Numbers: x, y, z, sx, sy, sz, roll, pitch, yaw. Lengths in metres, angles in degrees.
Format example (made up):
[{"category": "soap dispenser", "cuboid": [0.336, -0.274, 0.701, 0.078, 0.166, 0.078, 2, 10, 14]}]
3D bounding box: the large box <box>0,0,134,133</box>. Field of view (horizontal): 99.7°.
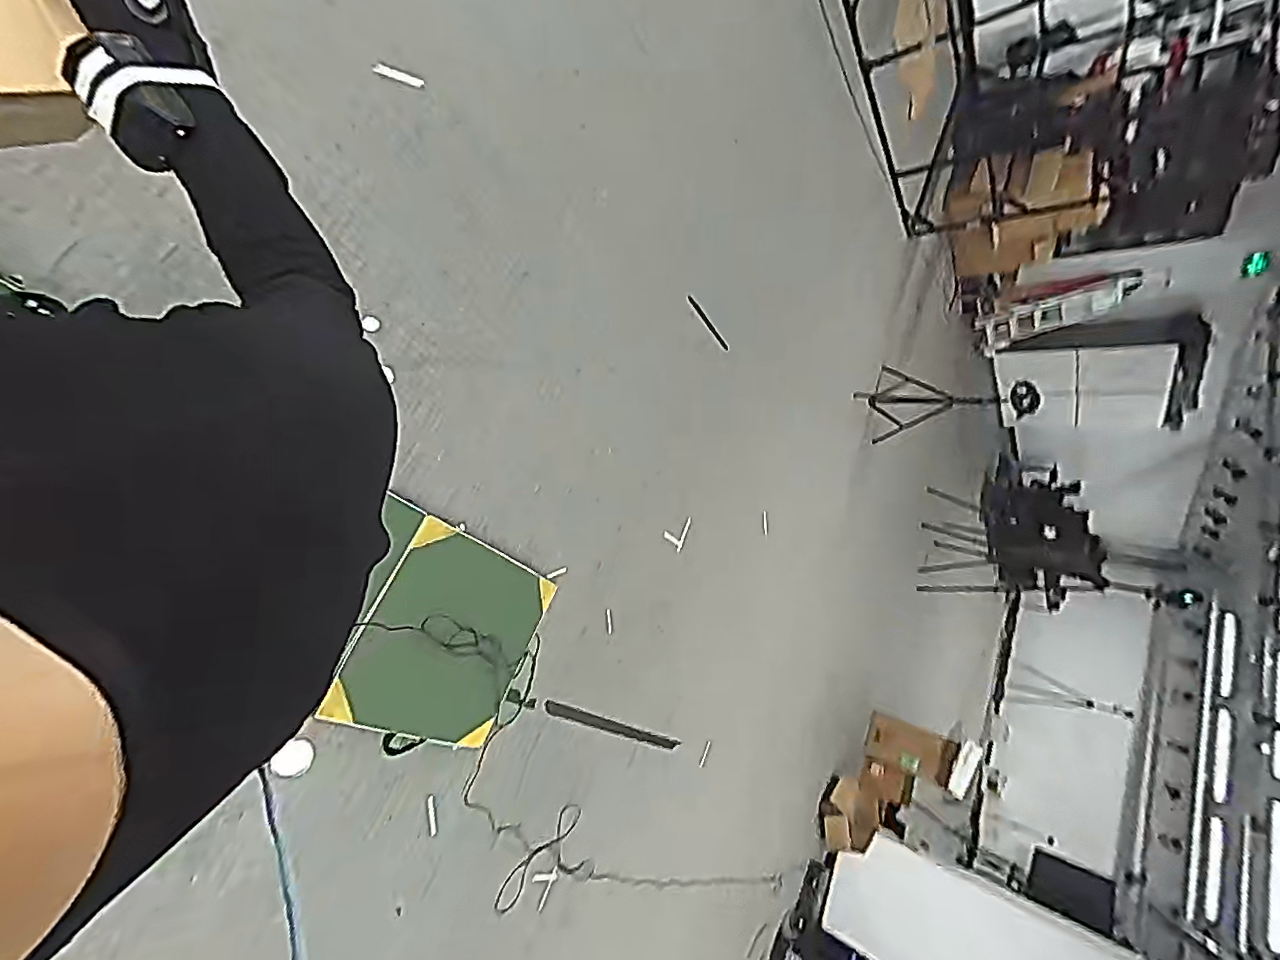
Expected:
[{"category": "large box", "cuboid": [-0.649, -0.383, 0.305, 0.408, 0.320, 0.320, -39, 133, -39]}]
